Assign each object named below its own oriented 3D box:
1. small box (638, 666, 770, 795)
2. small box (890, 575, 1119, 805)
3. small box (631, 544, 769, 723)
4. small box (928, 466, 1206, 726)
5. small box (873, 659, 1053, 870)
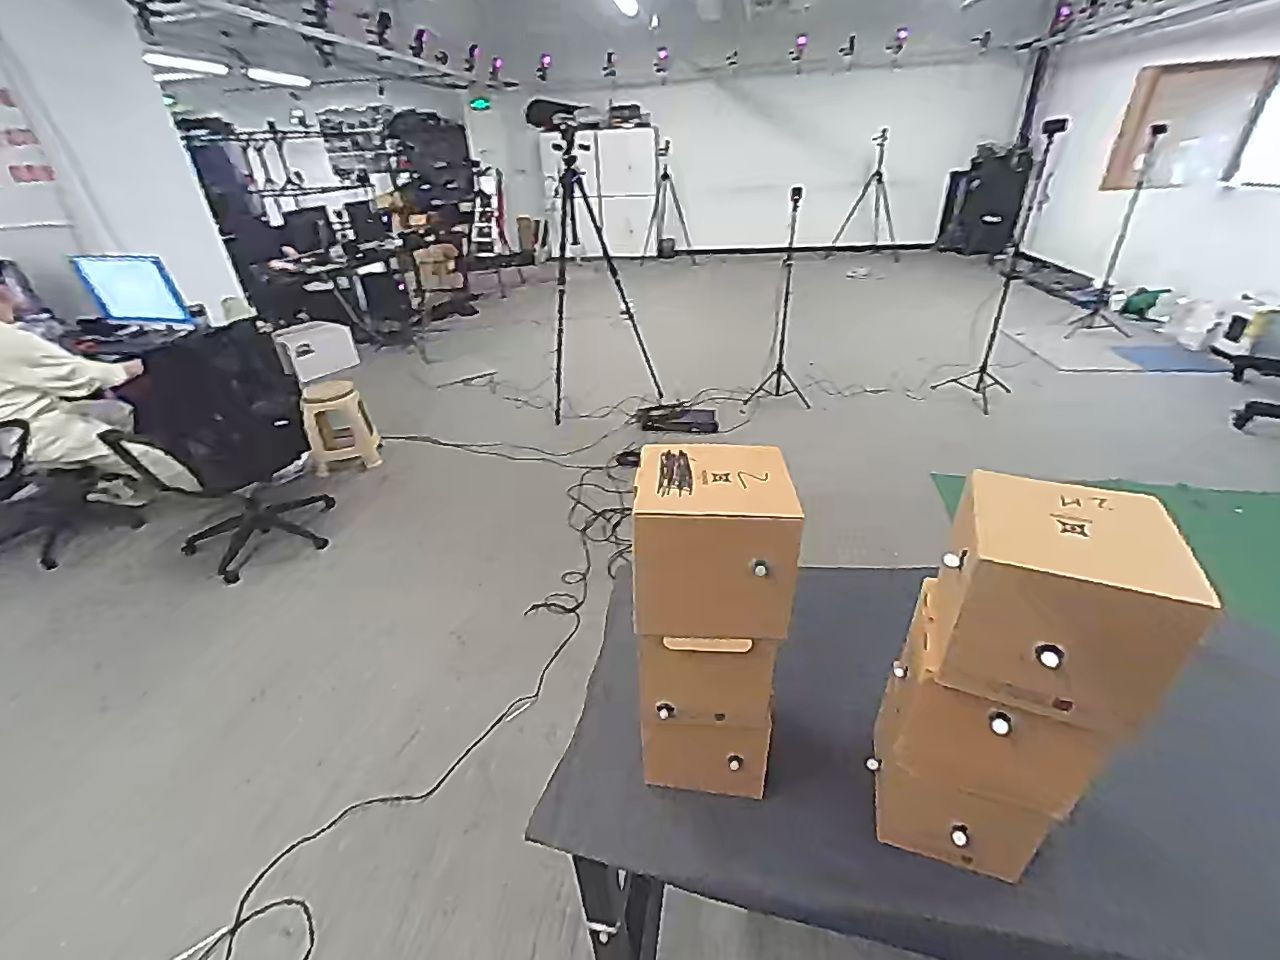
[{"bbox_3d":[0.099,0.348,0.822,0.179,0.176,0.168,1,29,9],"label":"small box"},{"bbox_3d":[0.411,0.244,0.641,0.179,0.176,0.168,10,33,23],"label":"small box"},{"bbox_3d":[0.081,0.206,0.739,0.168,0.176,0.179,0,29,5],"label":"small box"},{"bbox_3d":[0.401,0.109,0.546,0.168,0.176,0.179,11,33,23],"label":"small box"},{"bbox_3d":[0.418,0.380,0.732,0.168,0.176,0.179,7,32,18],"label":"small box"}]
